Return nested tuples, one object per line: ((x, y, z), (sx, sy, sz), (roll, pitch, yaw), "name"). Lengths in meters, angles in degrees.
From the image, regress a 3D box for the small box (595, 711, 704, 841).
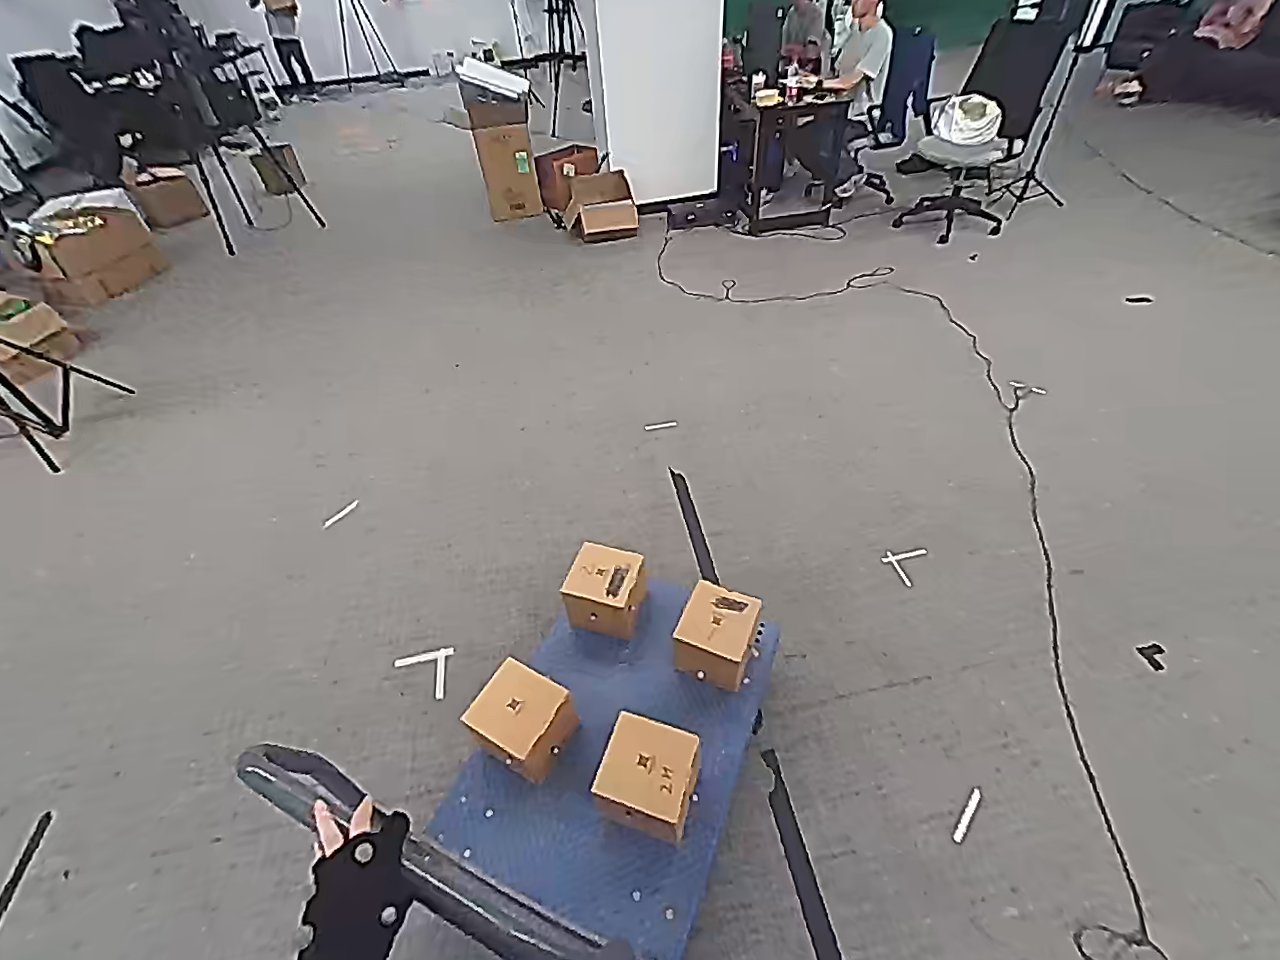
((0.027, 0.615, 1.119), (0.179, 0.176, 0.168), (12, 47, 17), "small box")

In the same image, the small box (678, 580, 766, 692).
((0.200, 0.385, 1.334), (0.168, 0.176, 0.179), (16, 50, 21), "small box")

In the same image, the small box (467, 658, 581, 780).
((-0.253, 0.543, 1.223), (0.179, 0.176, 0.168), (20, 50, 22), "small box")
